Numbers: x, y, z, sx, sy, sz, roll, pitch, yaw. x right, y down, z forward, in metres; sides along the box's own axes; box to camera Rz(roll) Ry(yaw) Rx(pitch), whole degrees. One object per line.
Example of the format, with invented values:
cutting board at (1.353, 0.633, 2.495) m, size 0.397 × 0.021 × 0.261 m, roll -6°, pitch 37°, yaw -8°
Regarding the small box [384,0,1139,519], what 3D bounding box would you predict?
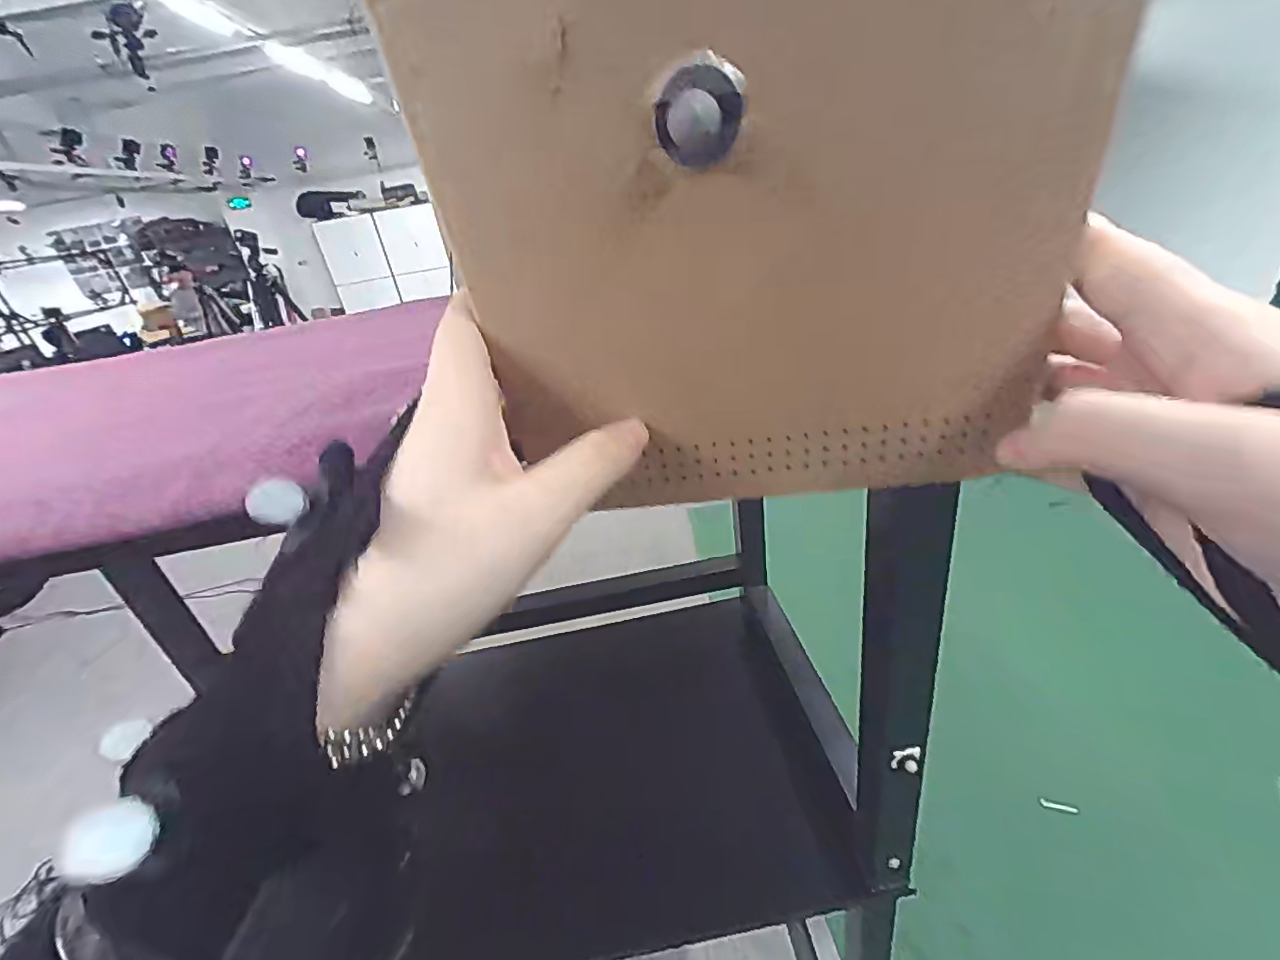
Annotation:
small box at (0.044, -0.098, 0.220) m, size 0.179 × 0.176 × 0.168 m, roll -5°, pitch 37°, yaw 9°
